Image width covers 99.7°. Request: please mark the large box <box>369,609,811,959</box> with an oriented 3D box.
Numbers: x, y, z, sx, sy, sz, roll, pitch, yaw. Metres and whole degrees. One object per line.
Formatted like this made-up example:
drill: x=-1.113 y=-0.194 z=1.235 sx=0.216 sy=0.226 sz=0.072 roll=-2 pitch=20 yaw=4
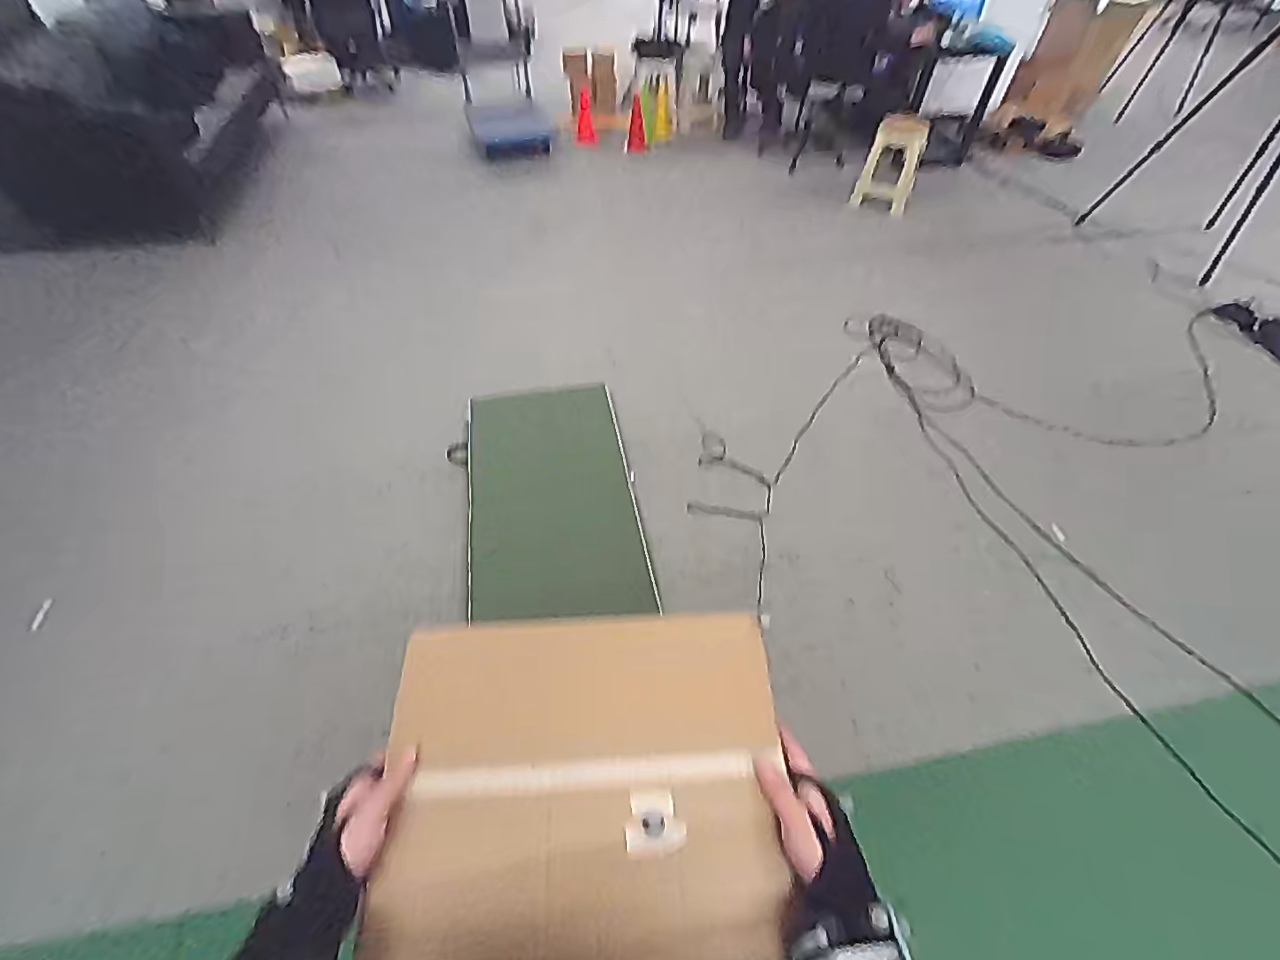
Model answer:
large box: x=-0.053 y=0.374 z=0.683 sx=0.408 sy=0.320 sz=0.320 roll=-2 pitch=57 yaw=-2
